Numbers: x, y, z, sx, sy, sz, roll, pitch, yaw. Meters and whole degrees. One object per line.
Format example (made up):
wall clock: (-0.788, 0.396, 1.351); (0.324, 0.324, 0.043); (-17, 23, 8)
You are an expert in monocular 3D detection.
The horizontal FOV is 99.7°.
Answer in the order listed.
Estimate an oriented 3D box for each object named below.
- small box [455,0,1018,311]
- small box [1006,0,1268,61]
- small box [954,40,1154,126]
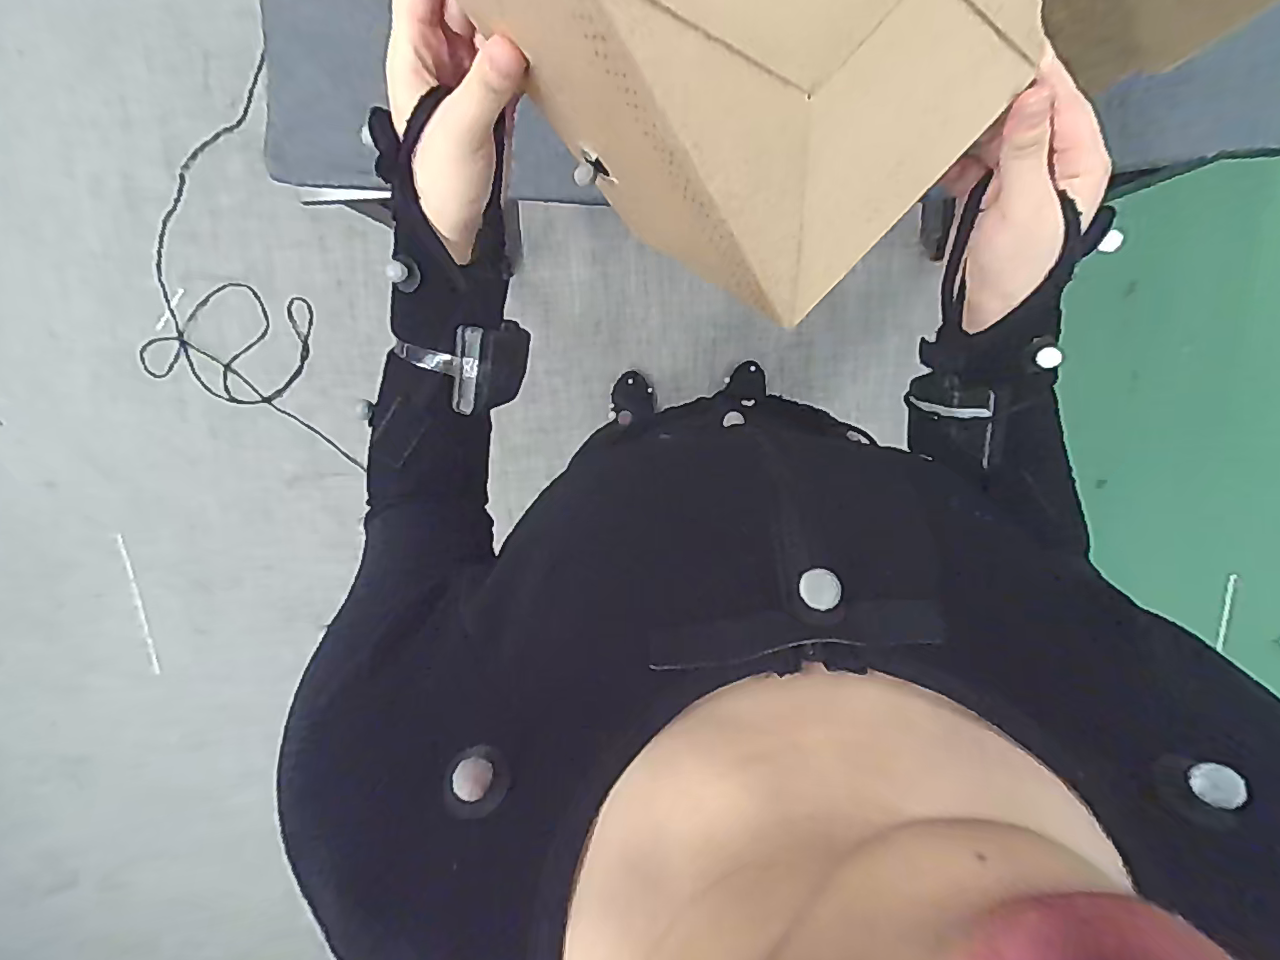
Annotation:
small box: (0.043, -0.215, 0.255); (0.168, 0.179, 0.176); (-45, 52, 8)
small box: (0.394, -0.443, 0.387); (0.179, 0.176, 0.168); (11, 101, 2)
small box: (0.403, -0.489, 0.543); (0.168, 0.176, 0.179); (0, 101, 4)
